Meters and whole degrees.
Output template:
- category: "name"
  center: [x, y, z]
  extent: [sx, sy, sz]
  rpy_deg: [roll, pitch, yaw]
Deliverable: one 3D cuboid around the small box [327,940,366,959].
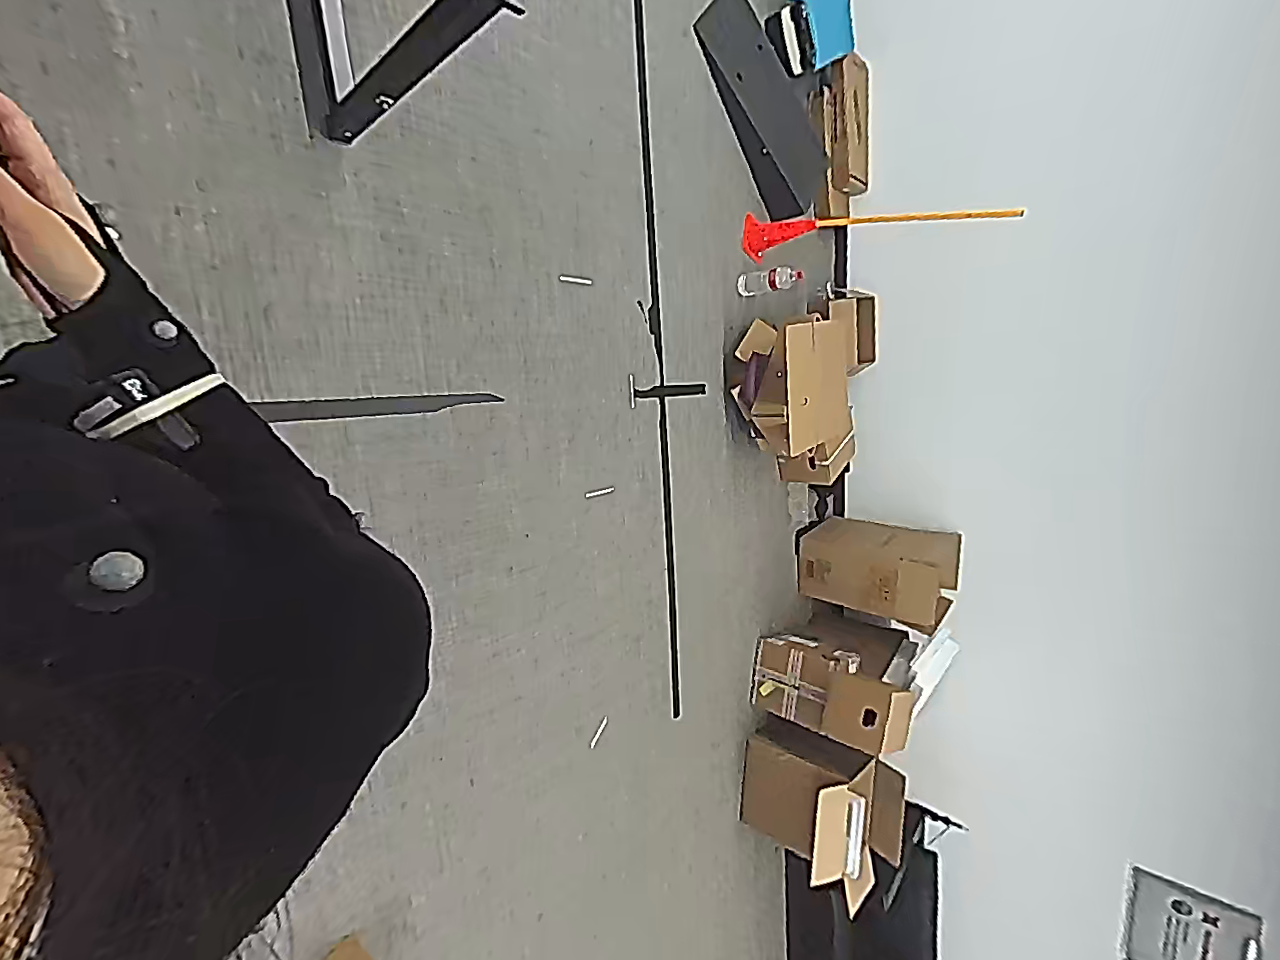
- category: "small box"
  center: [-0.806, 1.414, 1.460]
  extent: [0.179, 0.176, 0.168]
  rpy_deg: [-31, 117, -44]
